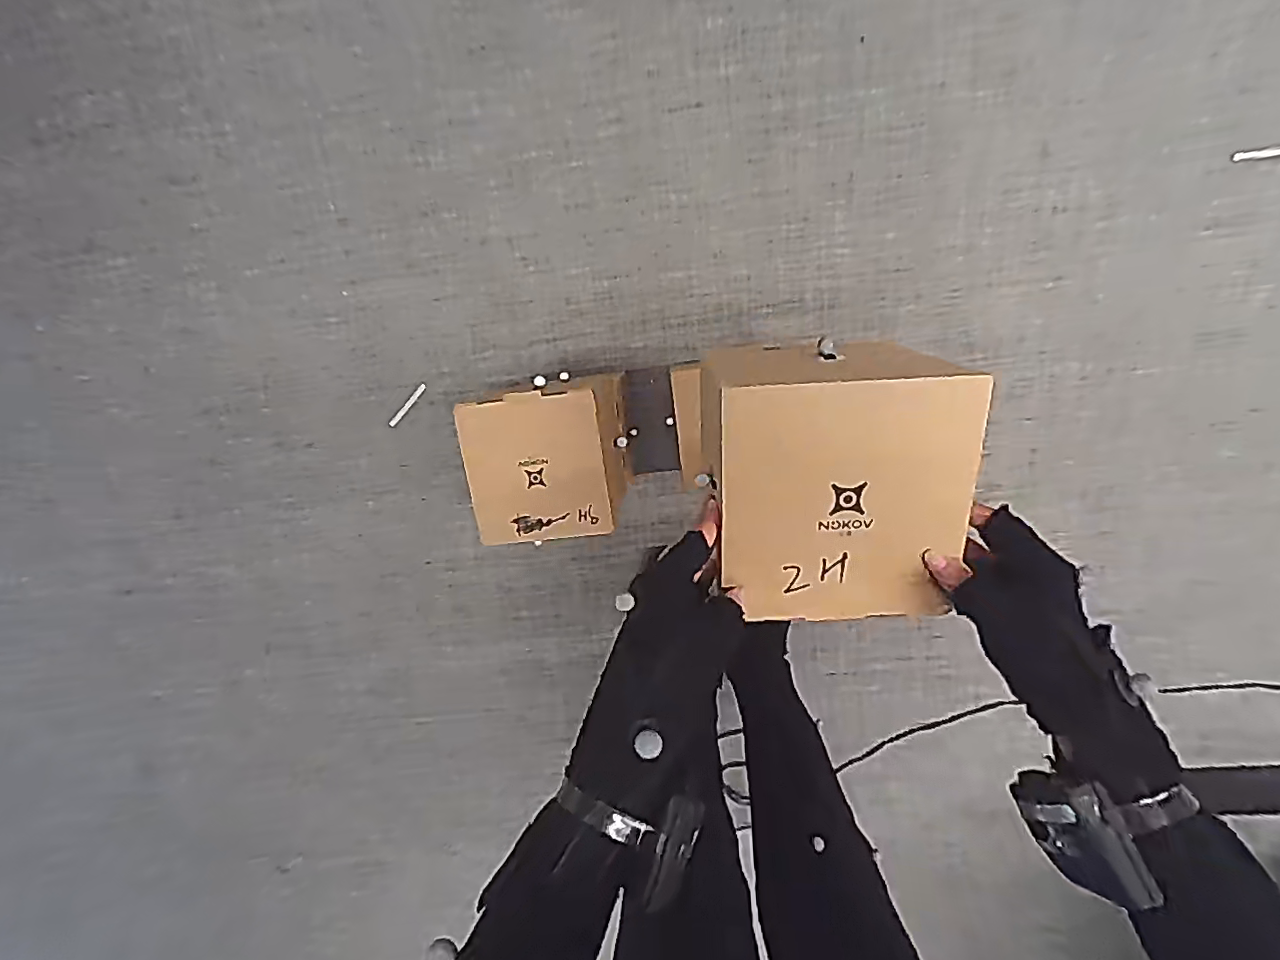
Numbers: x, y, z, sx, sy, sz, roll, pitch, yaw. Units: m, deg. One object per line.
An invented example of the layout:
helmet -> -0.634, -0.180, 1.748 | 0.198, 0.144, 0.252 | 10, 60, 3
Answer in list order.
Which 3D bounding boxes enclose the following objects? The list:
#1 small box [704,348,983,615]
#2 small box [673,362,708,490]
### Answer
small box -> 0.141, -0.012, 0.444 | 0.168, 0.176, 0.179 | -2, 111, 4
small box -> 0.144, -0.096, 0.848 | 0.168, 0.176, 0.179 | -7, 104, 5
